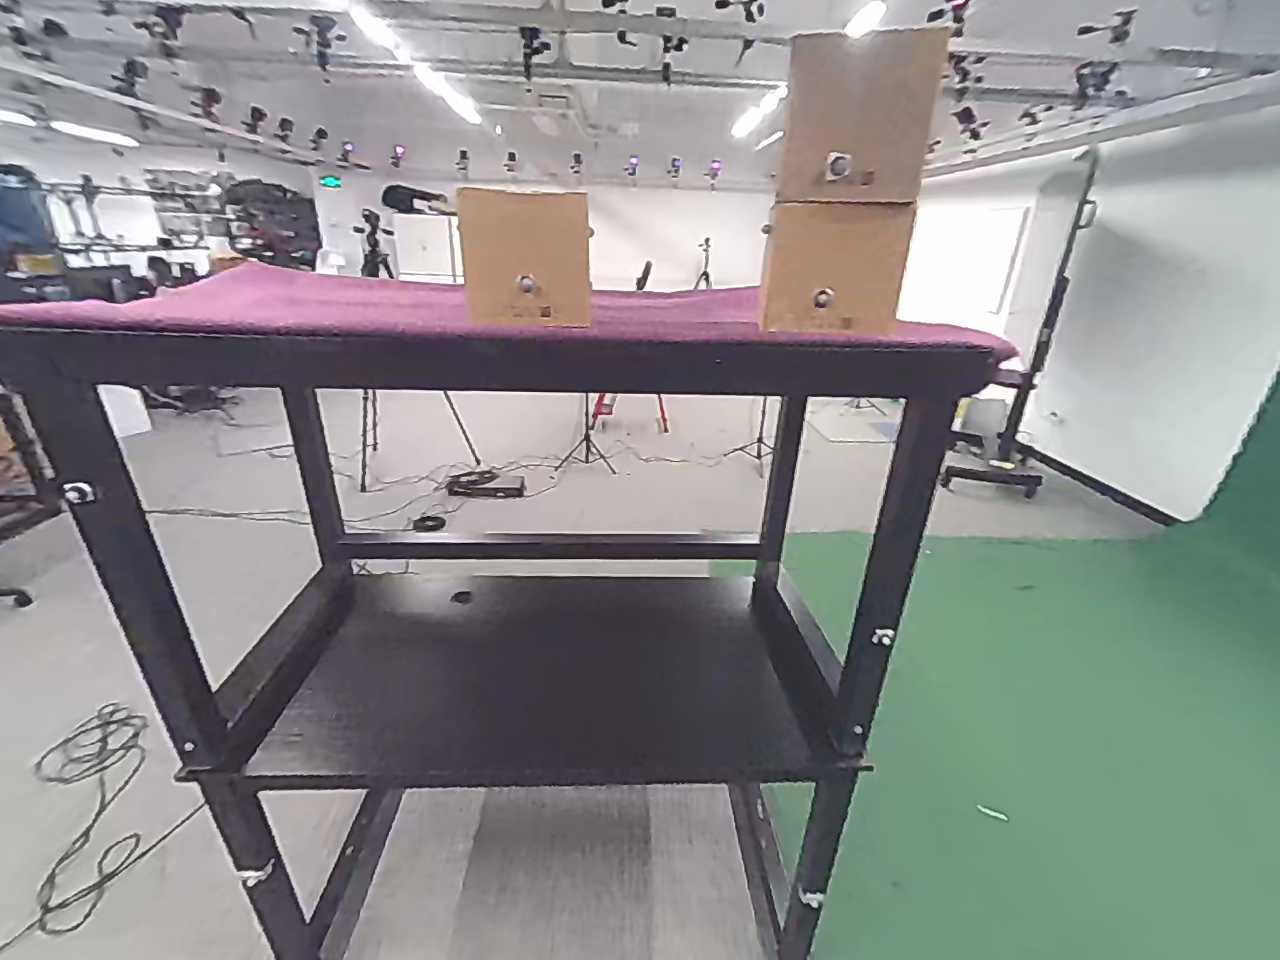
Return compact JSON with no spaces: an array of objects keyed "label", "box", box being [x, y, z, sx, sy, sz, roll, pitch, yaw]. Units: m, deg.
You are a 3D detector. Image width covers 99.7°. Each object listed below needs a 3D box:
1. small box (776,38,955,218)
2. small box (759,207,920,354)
[{"label":"small box","box":[0.265,-0.426,0.684,0.168,0.176,0.179,5,26,11]},{"label":"small box","box":[0.261,-0.281,0.757,0.168,0.176,0.179,4,25,7]}]
